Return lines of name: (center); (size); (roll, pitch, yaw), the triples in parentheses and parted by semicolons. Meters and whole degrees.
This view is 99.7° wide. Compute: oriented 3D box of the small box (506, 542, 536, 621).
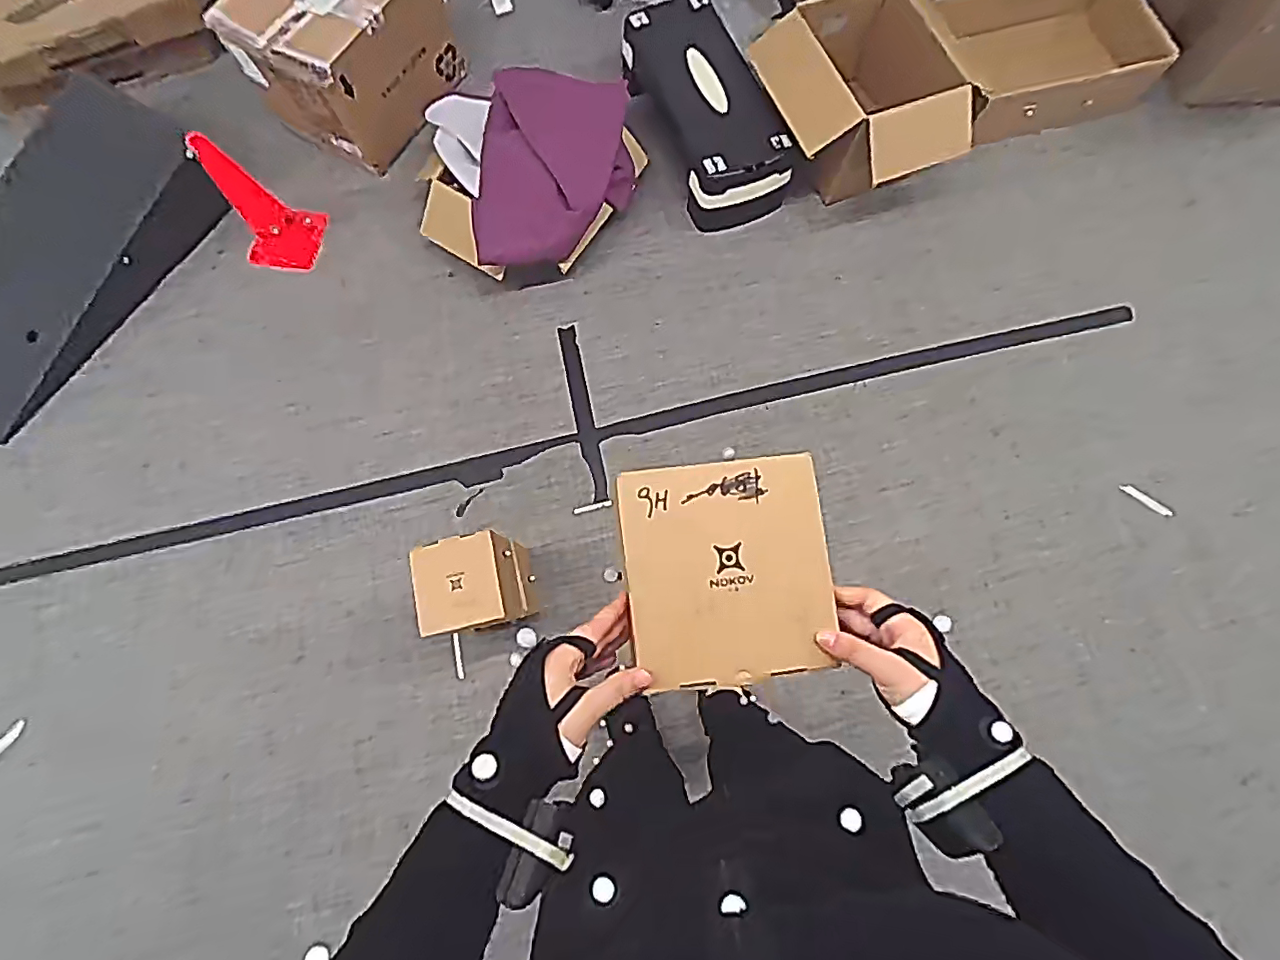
small box: (-0.353, 0.253, 1.286); (0.179, 0.176, 0.168); (-14, 76, -3)

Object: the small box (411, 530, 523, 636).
small box: (-0.355, 0.218, 1.127); (0.168, 0.176, 0.179); (-14, 77, -2)

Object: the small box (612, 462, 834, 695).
small box: (0.063, 0.085, 0.518); (0.168, 0.176, 0.179); (-6, 84, -5)
